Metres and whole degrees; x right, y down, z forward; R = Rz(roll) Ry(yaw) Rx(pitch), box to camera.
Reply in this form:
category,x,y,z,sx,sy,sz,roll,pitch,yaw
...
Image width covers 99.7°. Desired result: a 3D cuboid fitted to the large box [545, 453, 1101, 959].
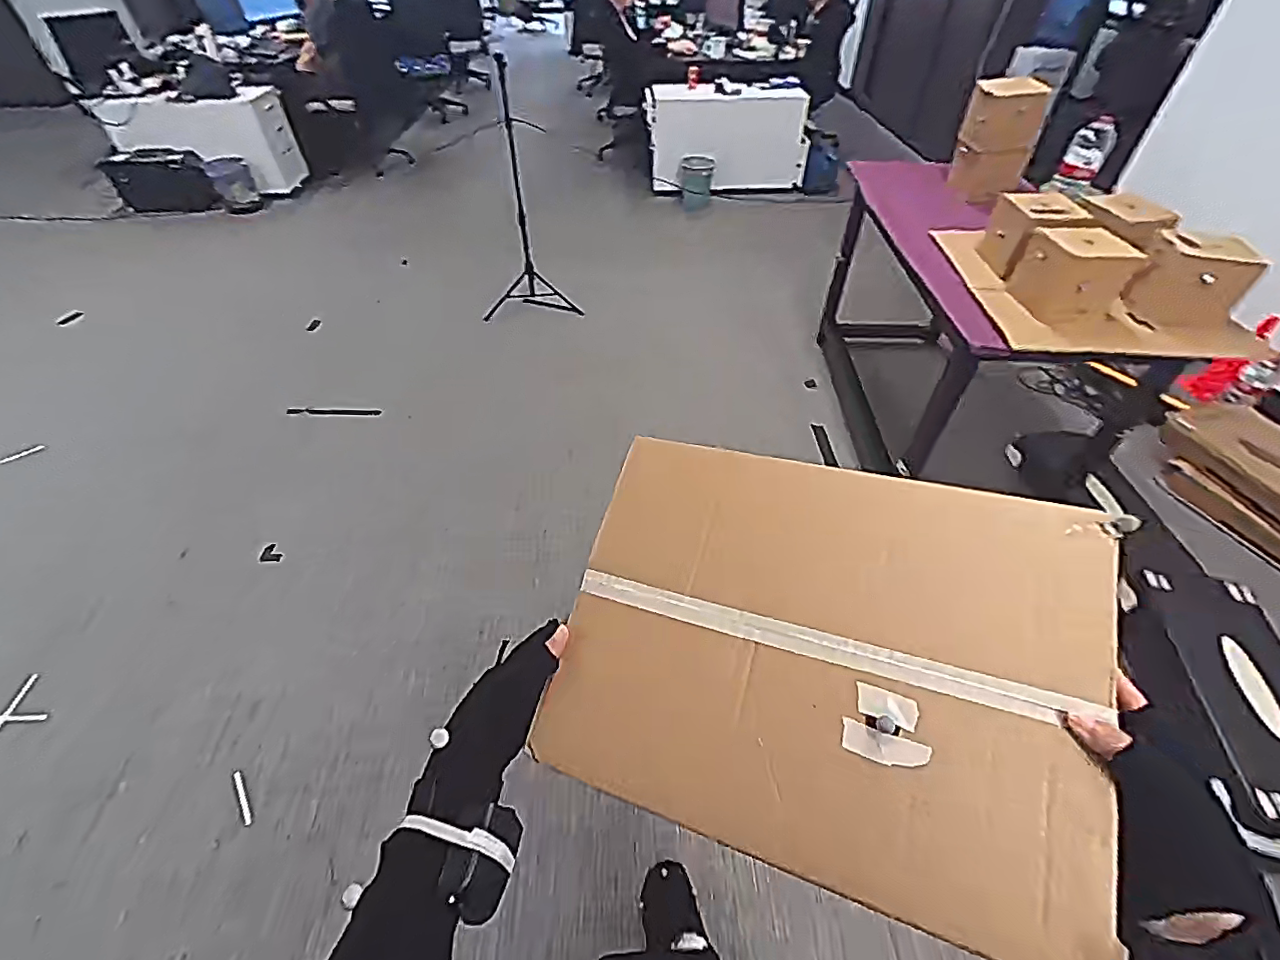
category,x,y,z,sx,sy,sz,roll,pitch,yaw
large box,0.178,0.200,0.580,0.408,0.320,0.320,11,69,21
